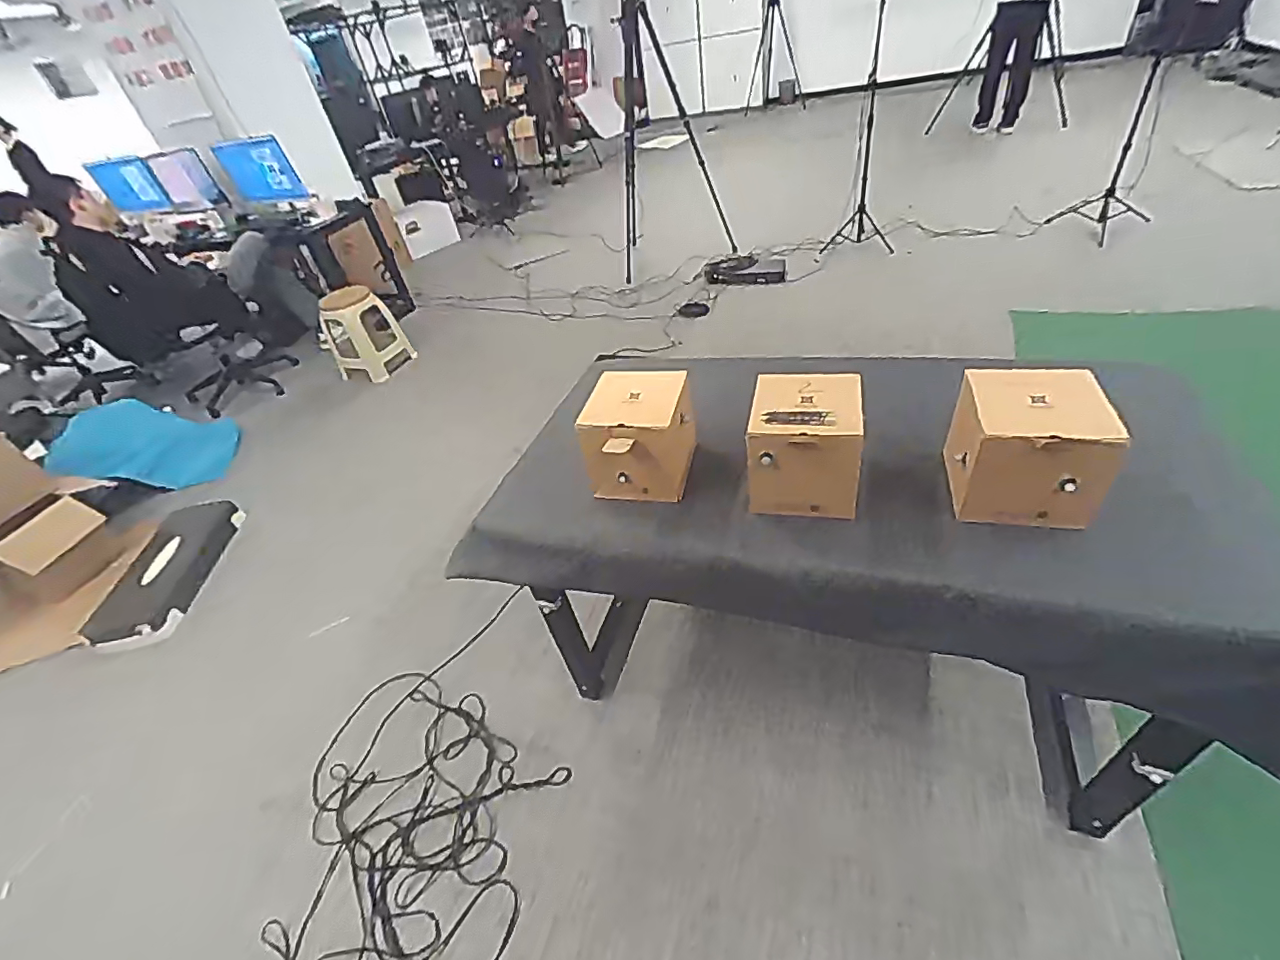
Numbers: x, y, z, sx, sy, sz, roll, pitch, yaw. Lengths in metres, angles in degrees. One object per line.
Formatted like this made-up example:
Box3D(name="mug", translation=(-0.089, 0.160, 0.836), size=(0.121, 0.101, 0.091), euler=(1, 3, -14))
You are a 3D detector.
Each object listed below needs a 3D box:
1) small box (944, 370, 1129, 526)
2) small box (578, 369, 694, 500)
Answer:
Box3D(name="small box", translation=(0.575, -0.050, 0.815), size=(0.168, 0.176, 0.179), euler=(4, 41, 17))
Box3D(name="small box", translation=(0.004, -0.087, 0.993), size=(0.168, 0.176, 0.179), euler=(3, 43, 16))
